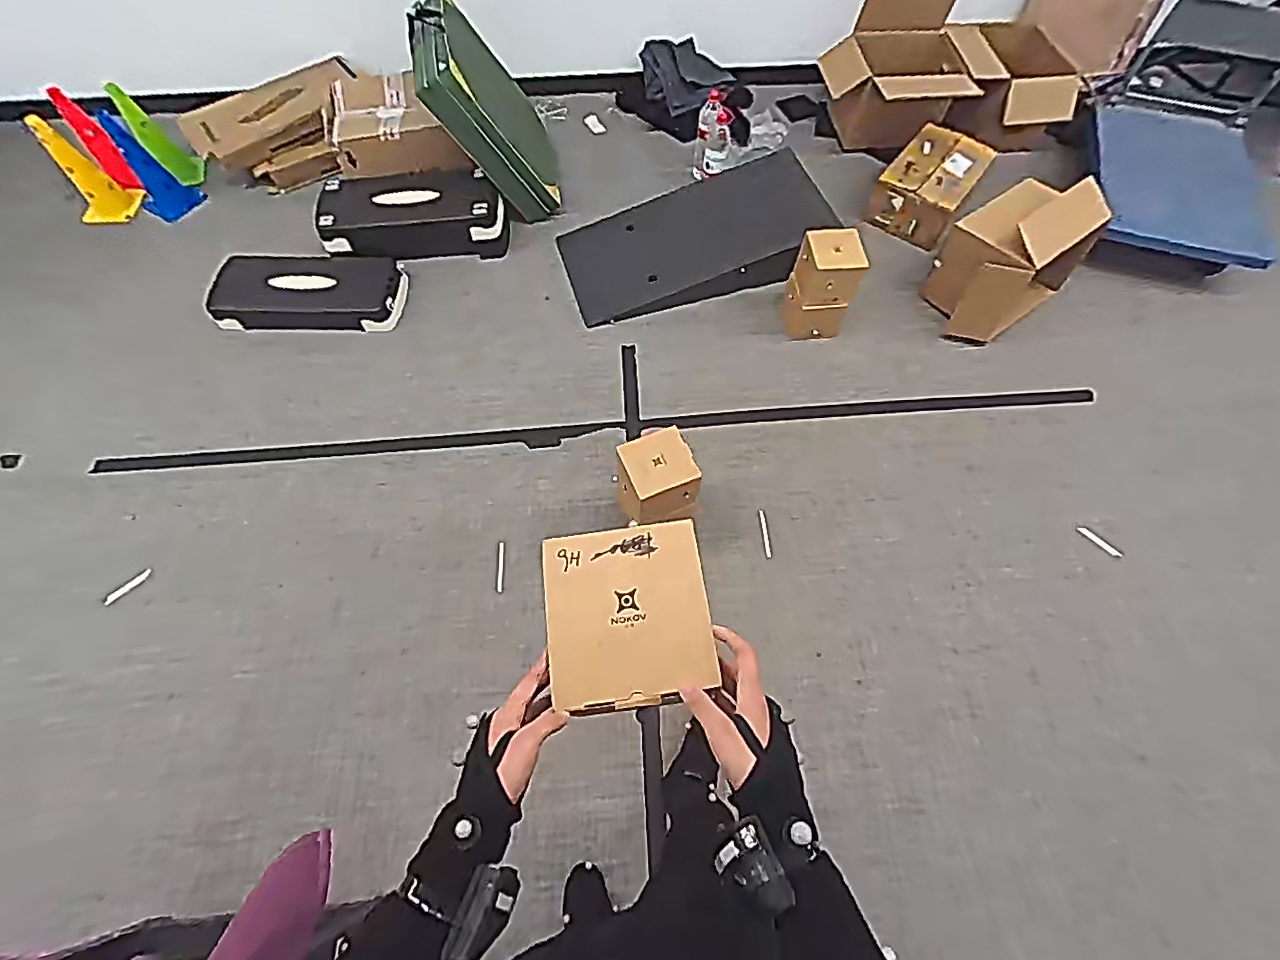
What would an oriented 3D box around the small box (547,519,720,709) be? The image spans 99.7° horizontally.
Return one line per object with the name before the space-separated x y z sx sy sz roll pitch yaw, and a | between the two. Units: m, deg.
small box | -0.007 0.162 0.627 0.168 0.176 0.179 -8 66 -1
